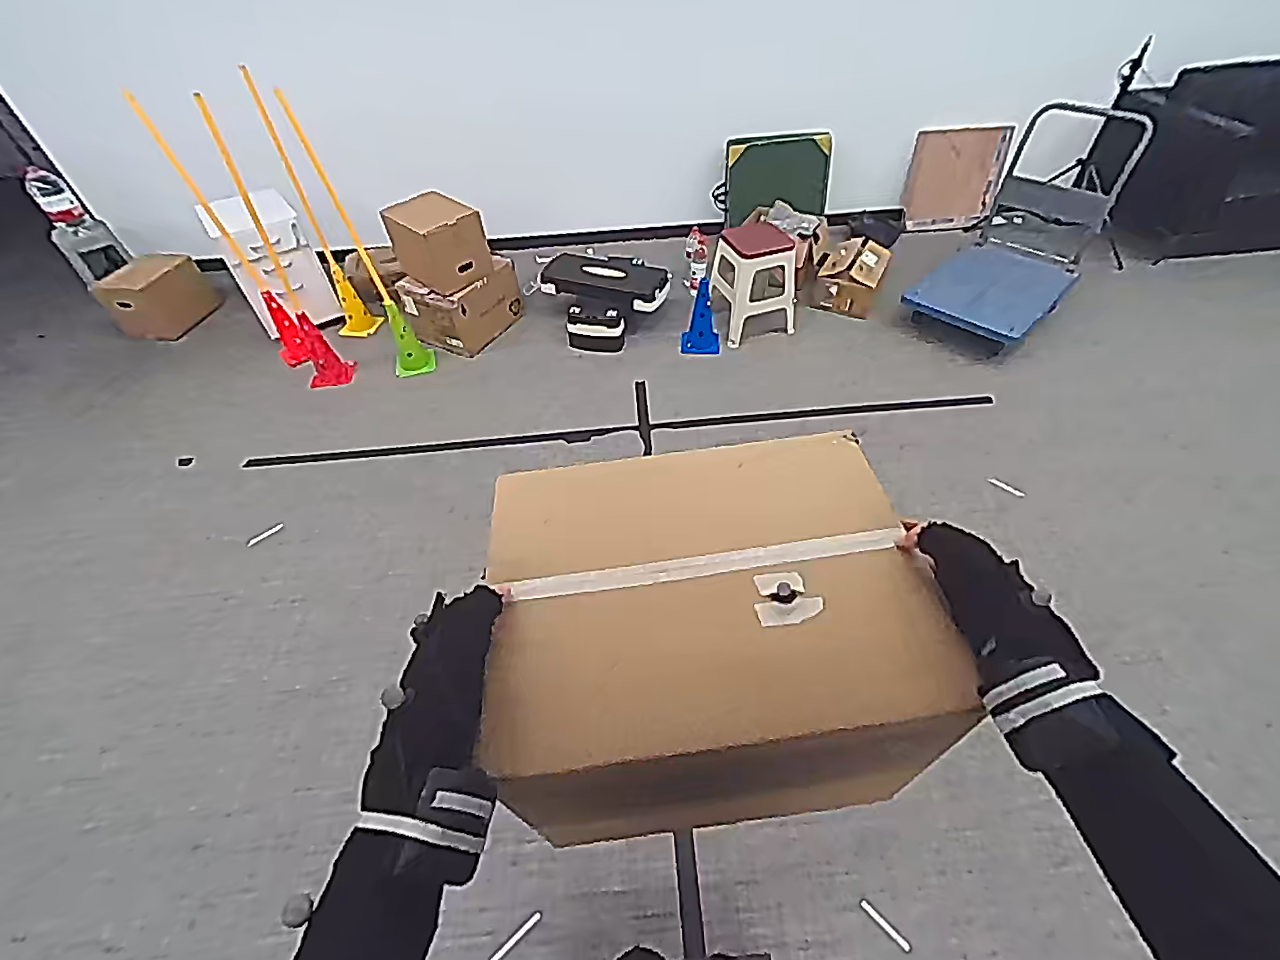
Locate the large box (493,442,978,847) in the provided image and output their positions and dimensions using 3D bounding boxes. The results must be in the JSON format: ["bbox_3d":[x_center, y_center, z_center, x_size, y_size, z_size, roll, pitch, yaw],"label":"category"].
[{"bbox_3d":[0.070,0.194,0.635,0.408,0.320,0.320,-8,48,-2],"label":"large box"}]
